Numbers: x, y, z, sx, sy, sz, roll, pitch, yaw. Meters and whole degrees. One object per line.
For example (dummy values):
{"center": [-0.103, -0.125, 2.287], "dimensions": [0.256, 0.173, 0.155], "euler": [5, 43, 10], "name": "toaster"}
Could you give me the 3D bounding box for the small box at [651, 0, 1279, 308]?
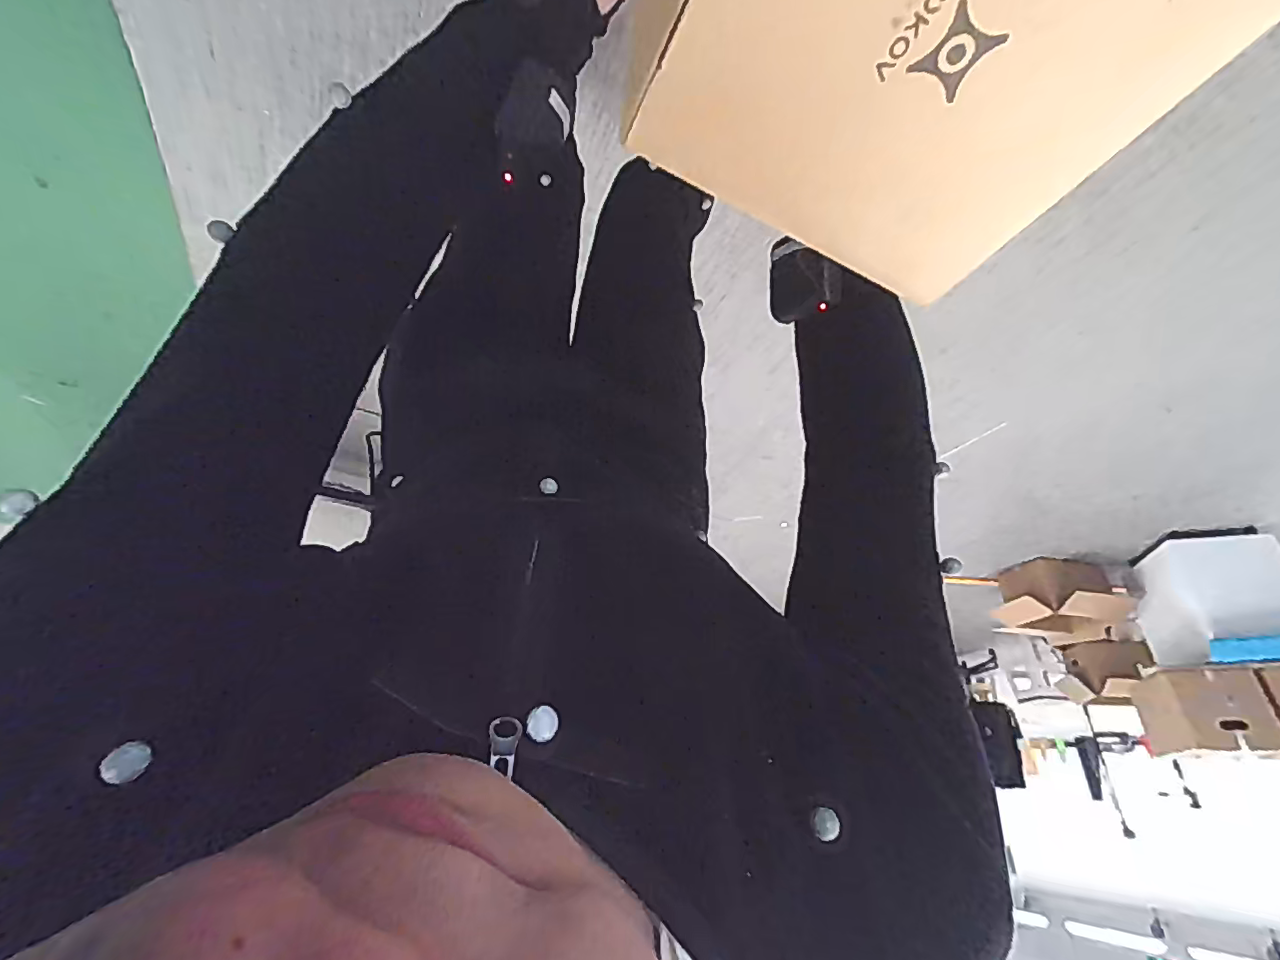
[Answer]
{"center": [0.120, -0.214, 0.229], "dimensions": [0.179, 0.176, 0.168], "euler": [16, 147, -21], "name": "small box"}
